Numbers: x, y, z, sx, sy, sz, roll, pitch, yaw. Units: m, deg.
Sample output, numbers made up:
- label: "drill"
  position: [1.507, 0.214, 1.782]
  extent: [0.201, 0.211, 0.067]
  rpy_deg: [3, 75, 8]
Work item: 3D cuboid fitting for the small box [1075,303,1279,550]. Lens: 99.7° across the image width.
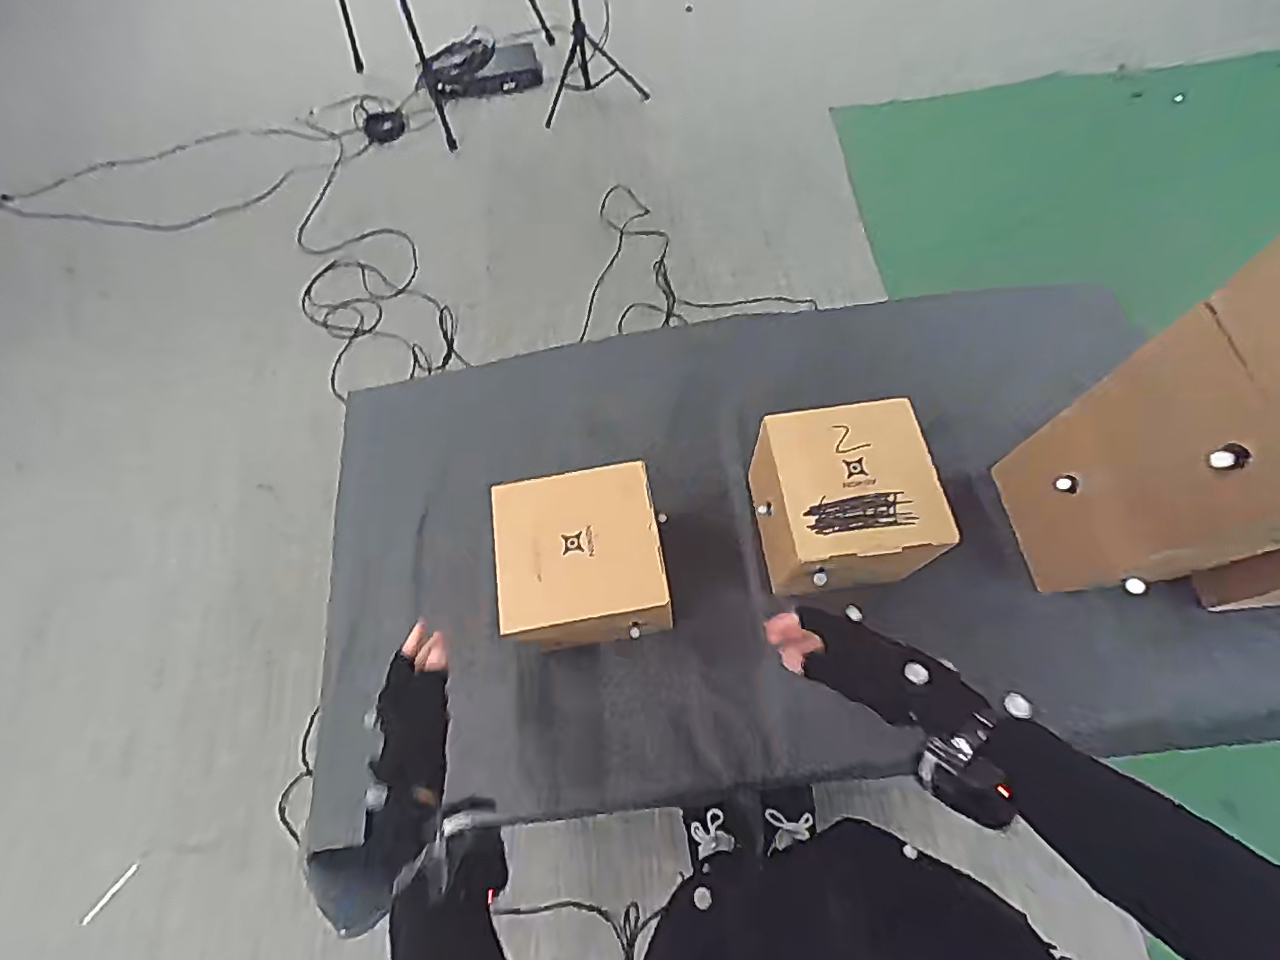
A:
- label: "small box"
  position: [0.553, -0.042, 0.484]
  extent: [0.168, 0.176, 0.179]
  rpy_deg: [-5, 65, 2]
